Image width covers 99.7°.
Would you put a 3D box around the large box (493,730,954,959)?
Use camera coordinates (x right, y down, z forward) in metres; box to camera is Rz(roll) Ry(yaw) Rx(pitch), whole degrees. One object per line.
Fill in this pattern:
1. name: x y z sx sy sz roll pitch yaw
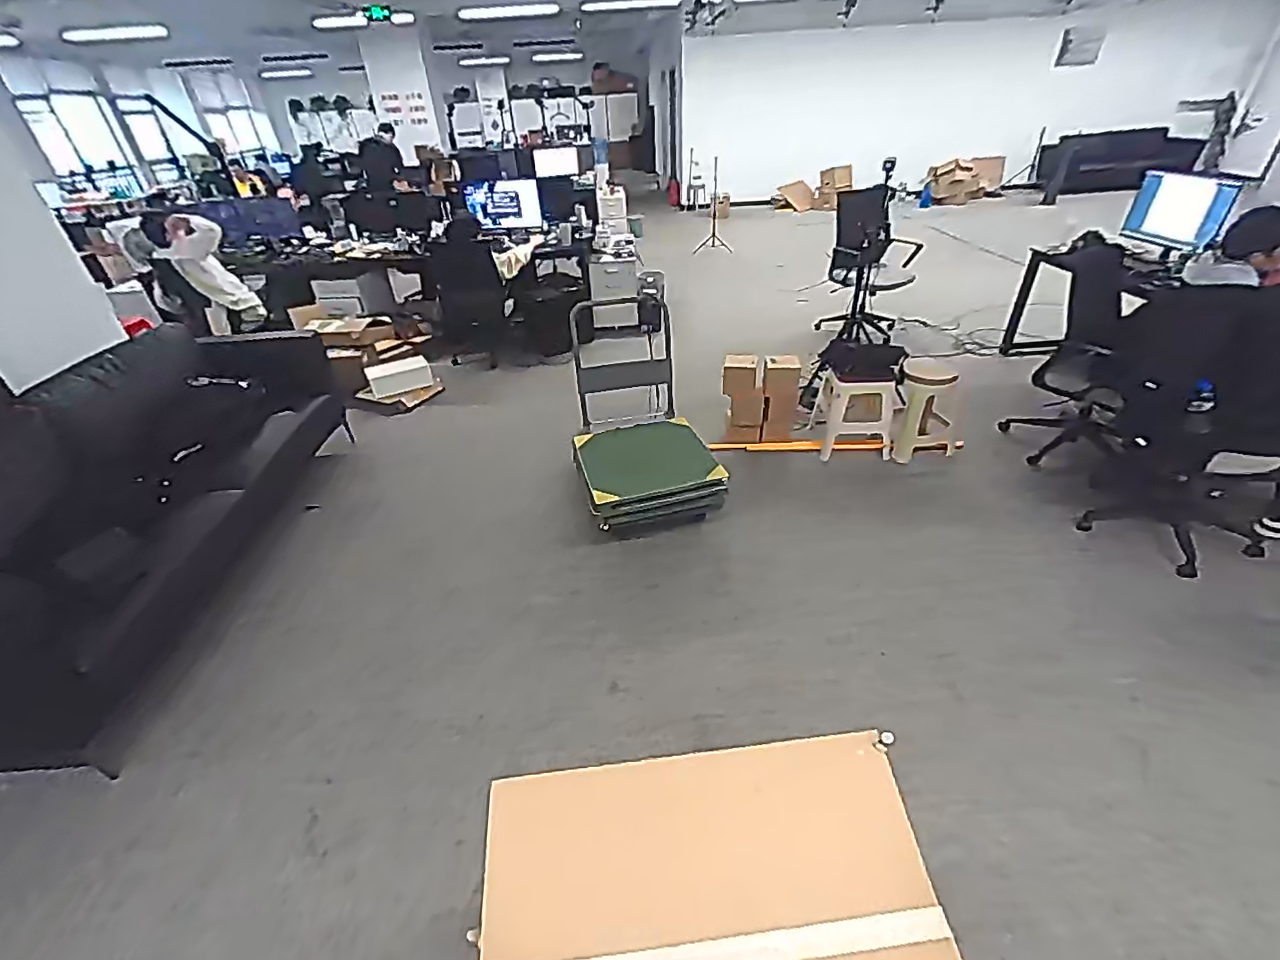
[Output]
1. large box: 0.074 0.504 0.589 0.408 0.320 0.320 -7 53 -3
